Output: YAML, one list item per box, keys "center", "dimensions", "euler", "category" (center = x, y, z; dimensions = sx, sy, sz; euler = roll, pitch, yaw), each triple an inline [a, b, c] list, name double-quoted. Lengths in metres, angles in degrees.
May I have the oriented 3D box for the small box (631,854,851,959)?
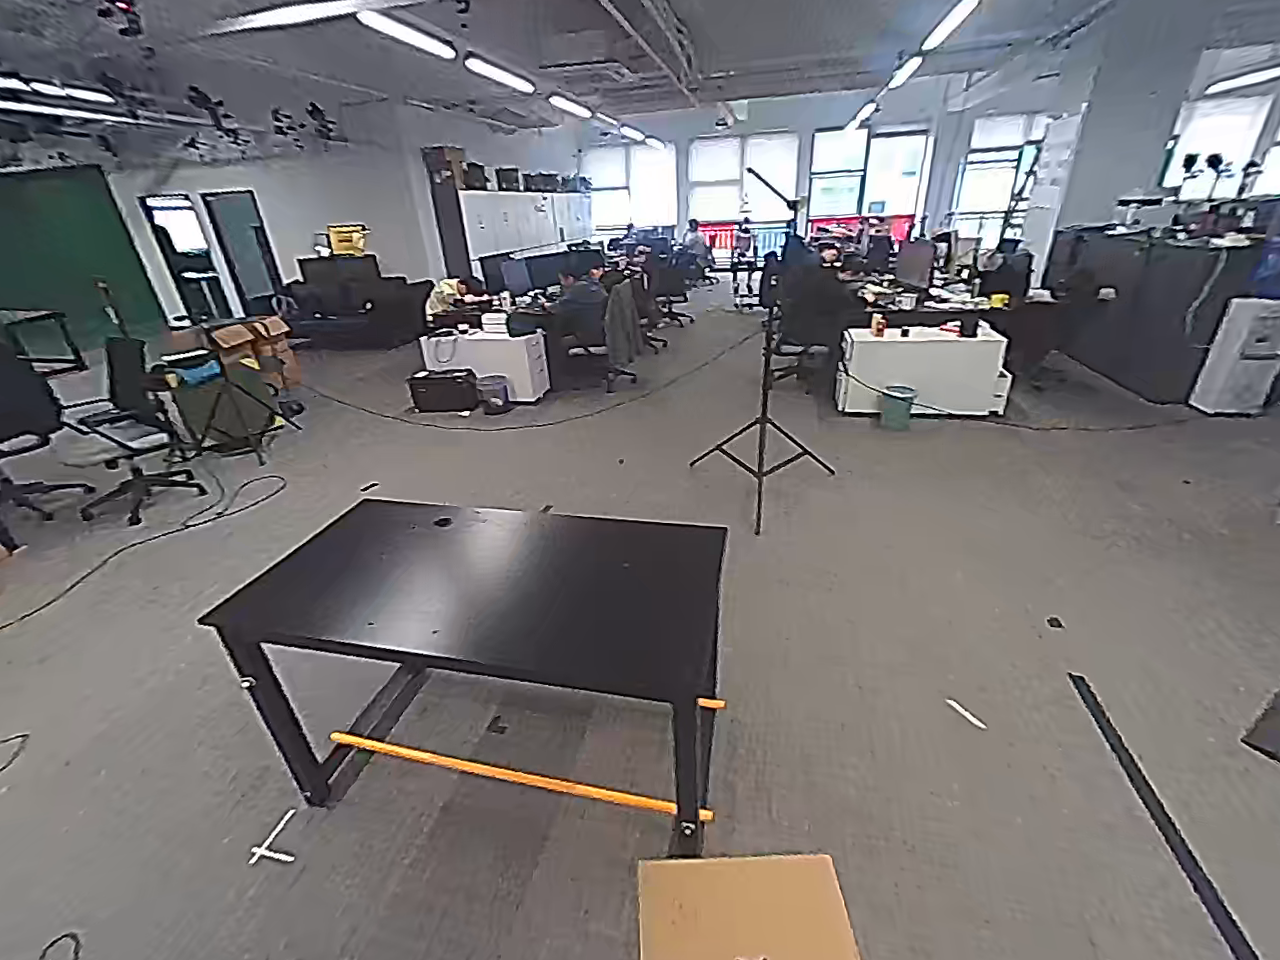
- center: [0.076, 0.436, 0.434]
  dimensions: [0.168, 0.176, 0.179]
  euler: [-1, 35, -1]
  category: "small box"
